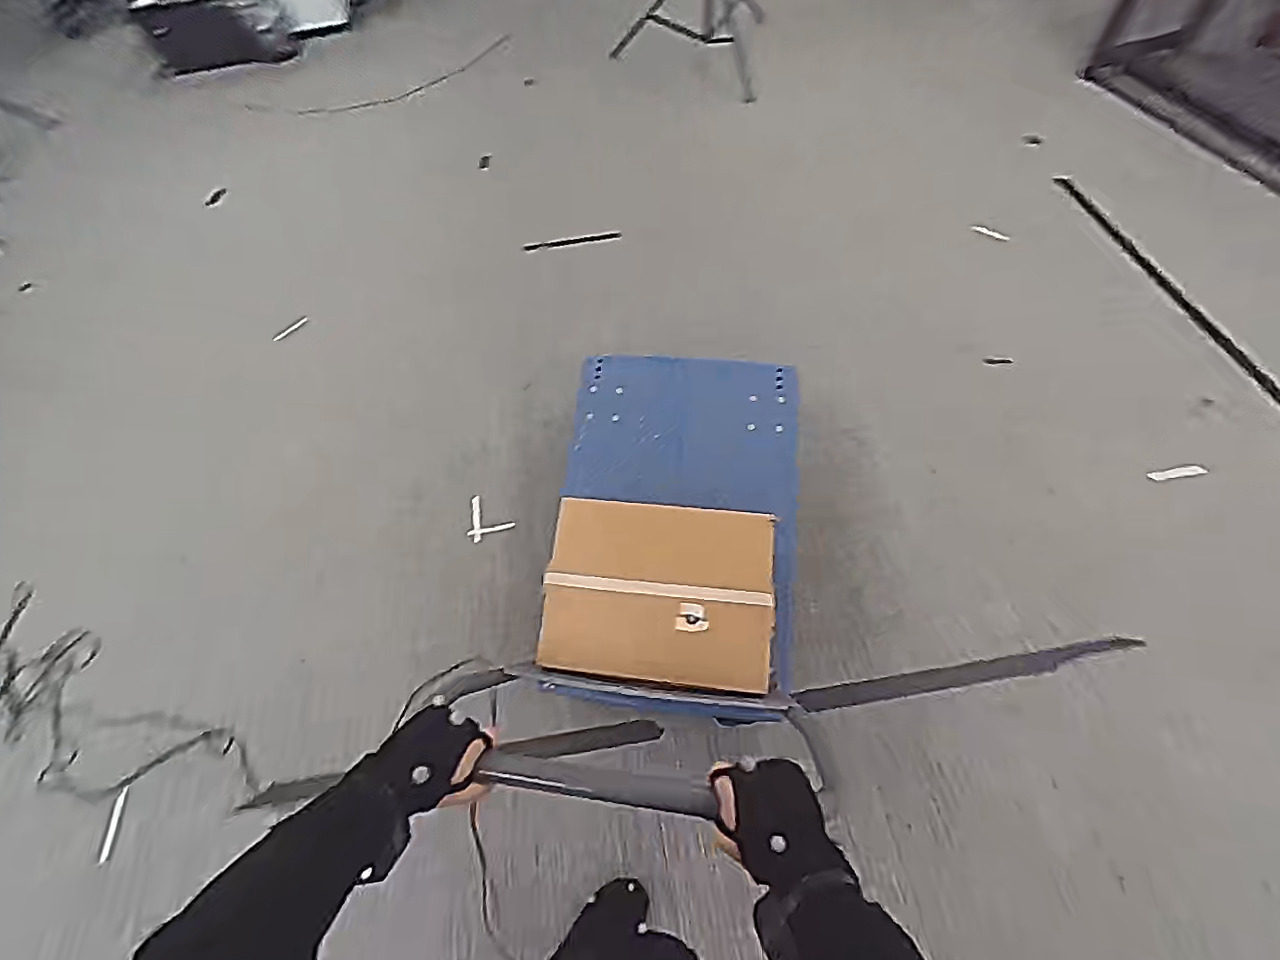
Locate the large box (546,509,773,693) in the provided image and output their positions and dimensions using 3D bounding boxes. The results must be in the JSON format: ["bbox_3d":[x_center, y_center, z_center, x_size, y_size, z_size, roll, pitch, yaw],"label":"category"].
[{"bbox_3d":[0.050,0.258,1.126,0.408,0.320,0.320,3,73,6],"label":"large box"}]
